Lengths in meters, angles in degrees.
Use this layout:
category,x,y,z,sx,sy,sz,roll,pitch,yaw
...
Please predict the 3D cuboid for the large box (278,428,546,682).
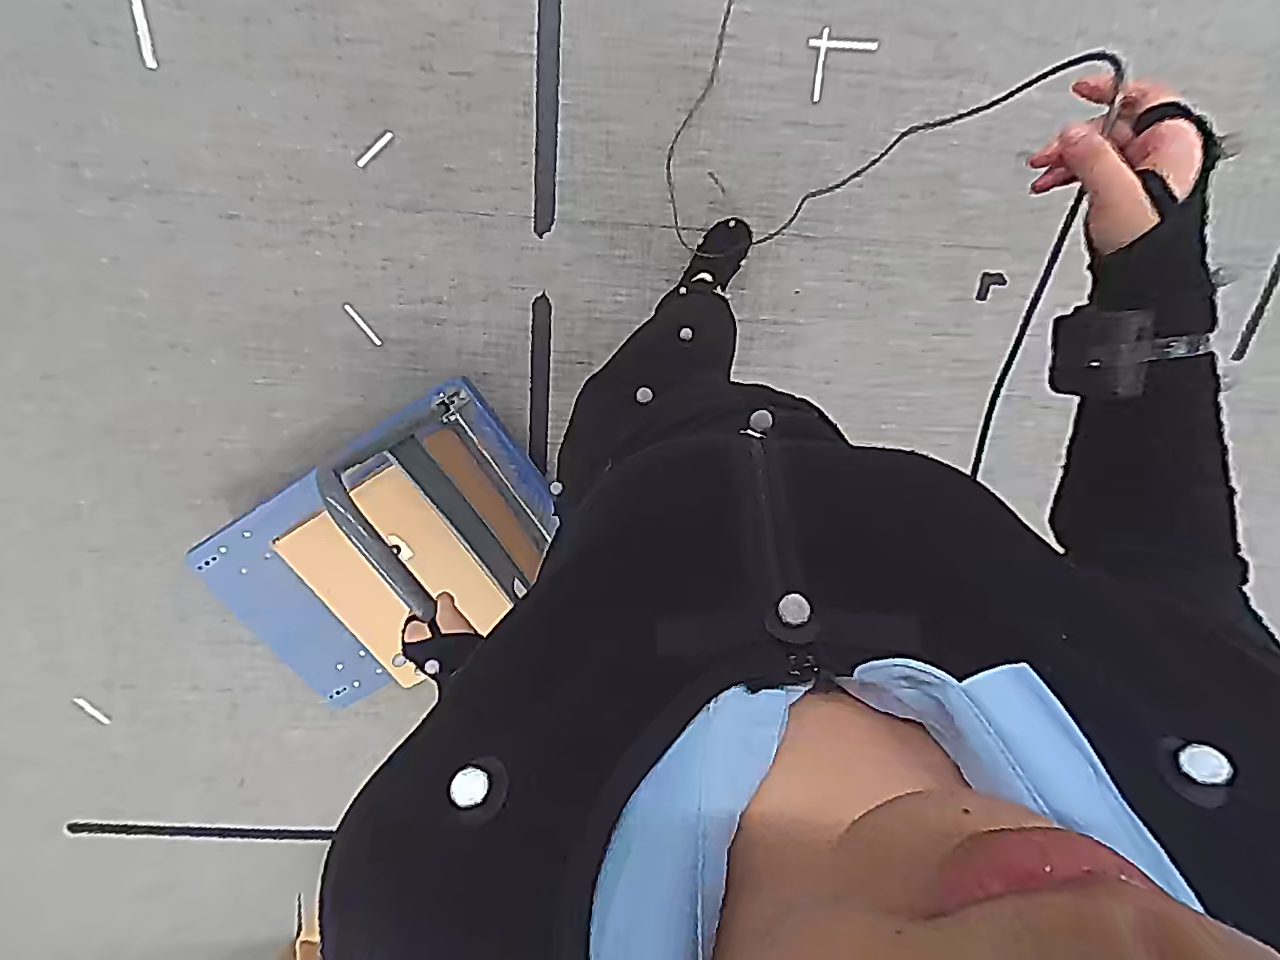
category,x,y,z,sx,sy,sz,roll,pitch,yaw
large box,-0.466,0.152,1.210,0.320,0.320,0.408,-31,106,8
